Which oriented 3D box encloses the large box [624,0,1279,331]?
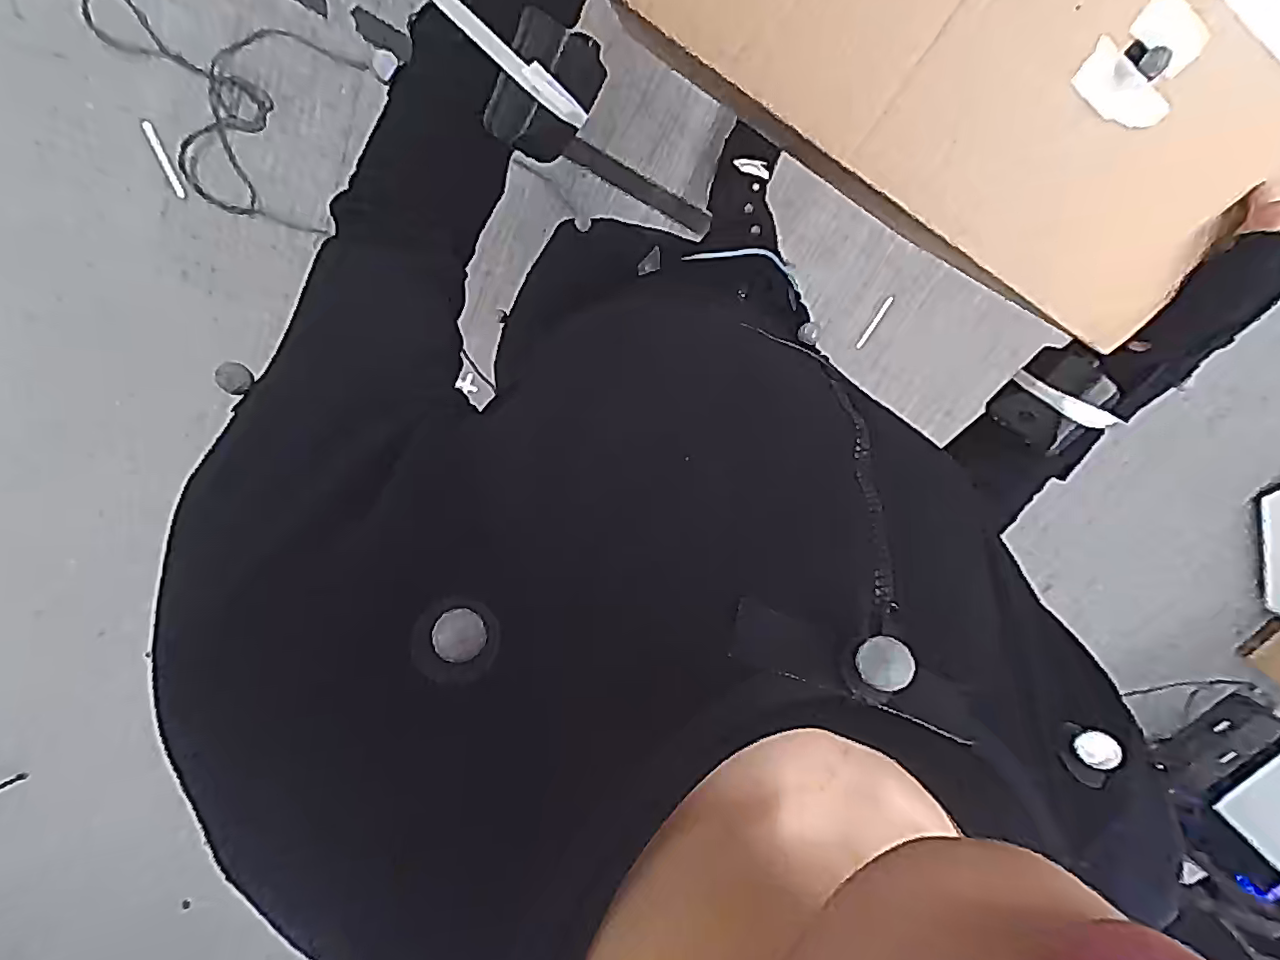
[{"bbox_3d":[0.231,-0.378,0.382,0.408,0.320,0.320,25,123,-17],"label":"large box"}]
